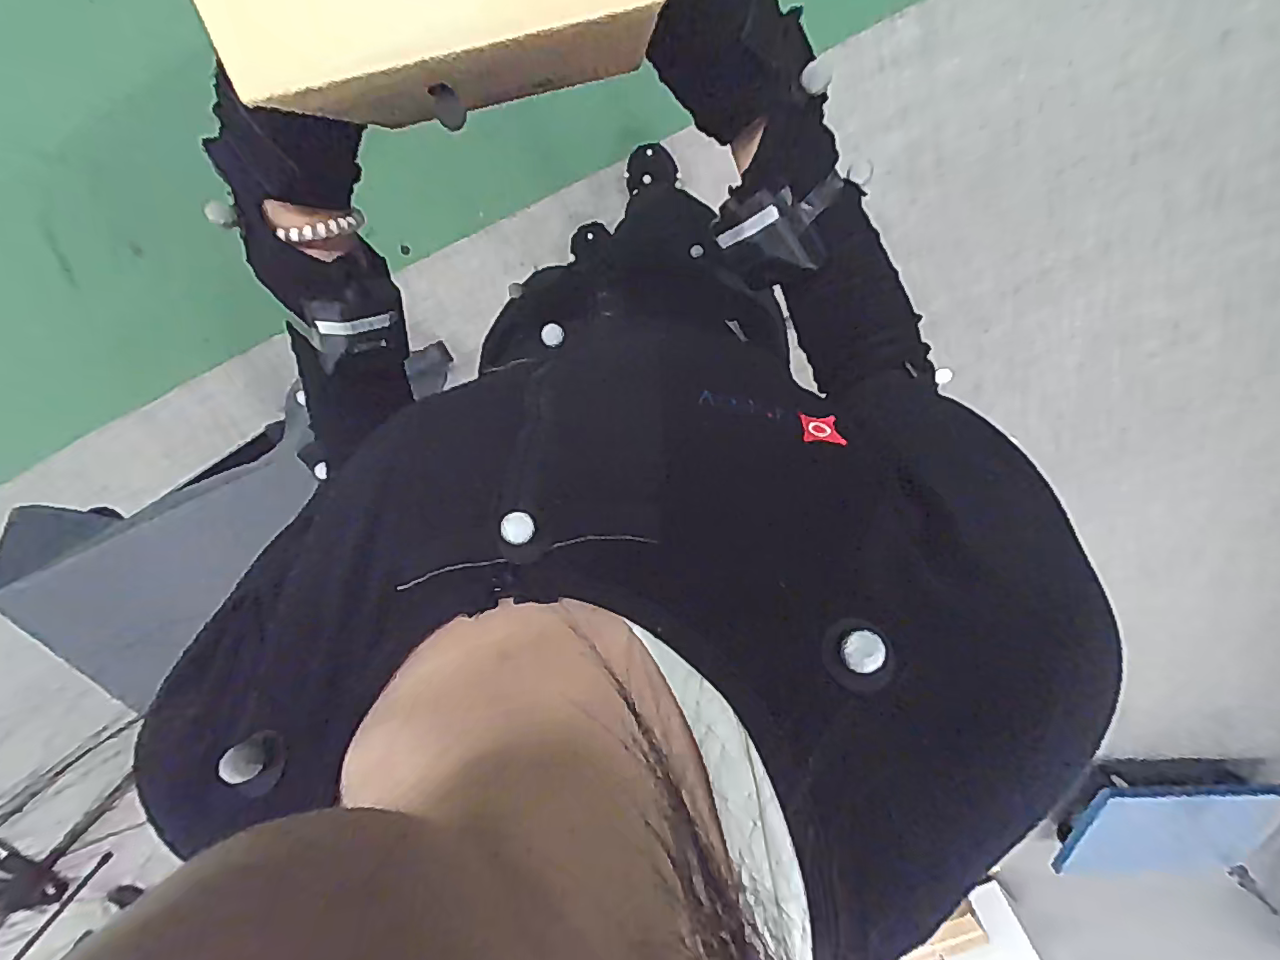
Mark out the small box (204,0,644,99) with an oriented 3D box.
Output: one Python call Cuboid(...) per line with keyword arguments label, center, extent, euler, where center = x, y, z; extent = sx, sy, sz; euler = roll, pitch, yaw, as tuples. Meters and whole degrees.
Cuboid(label="small box", center=(-0.090, -0.279, 0.224), extent=(0.168, 0.176, 0.179), euler=(-11, 119, 3))
